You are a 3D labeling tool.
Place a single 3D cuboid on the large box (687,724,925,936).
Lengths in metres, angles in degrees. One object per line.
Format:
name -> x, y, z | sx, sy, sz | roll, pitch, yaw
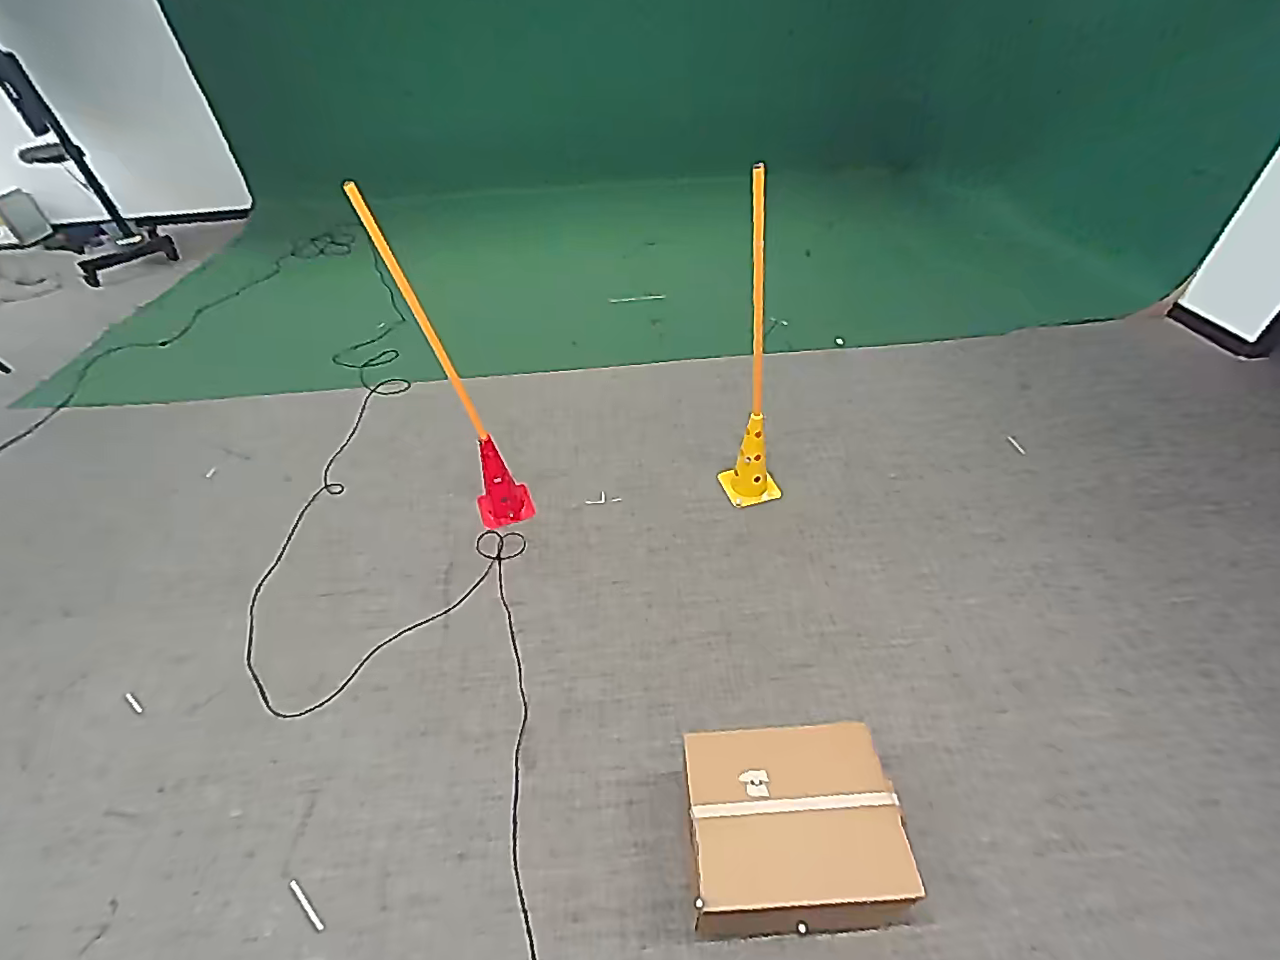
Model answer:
large box -> 0.320, 0.764, 1.177 | 0.408, 0.320, 0.320 | -5, 42, 1
